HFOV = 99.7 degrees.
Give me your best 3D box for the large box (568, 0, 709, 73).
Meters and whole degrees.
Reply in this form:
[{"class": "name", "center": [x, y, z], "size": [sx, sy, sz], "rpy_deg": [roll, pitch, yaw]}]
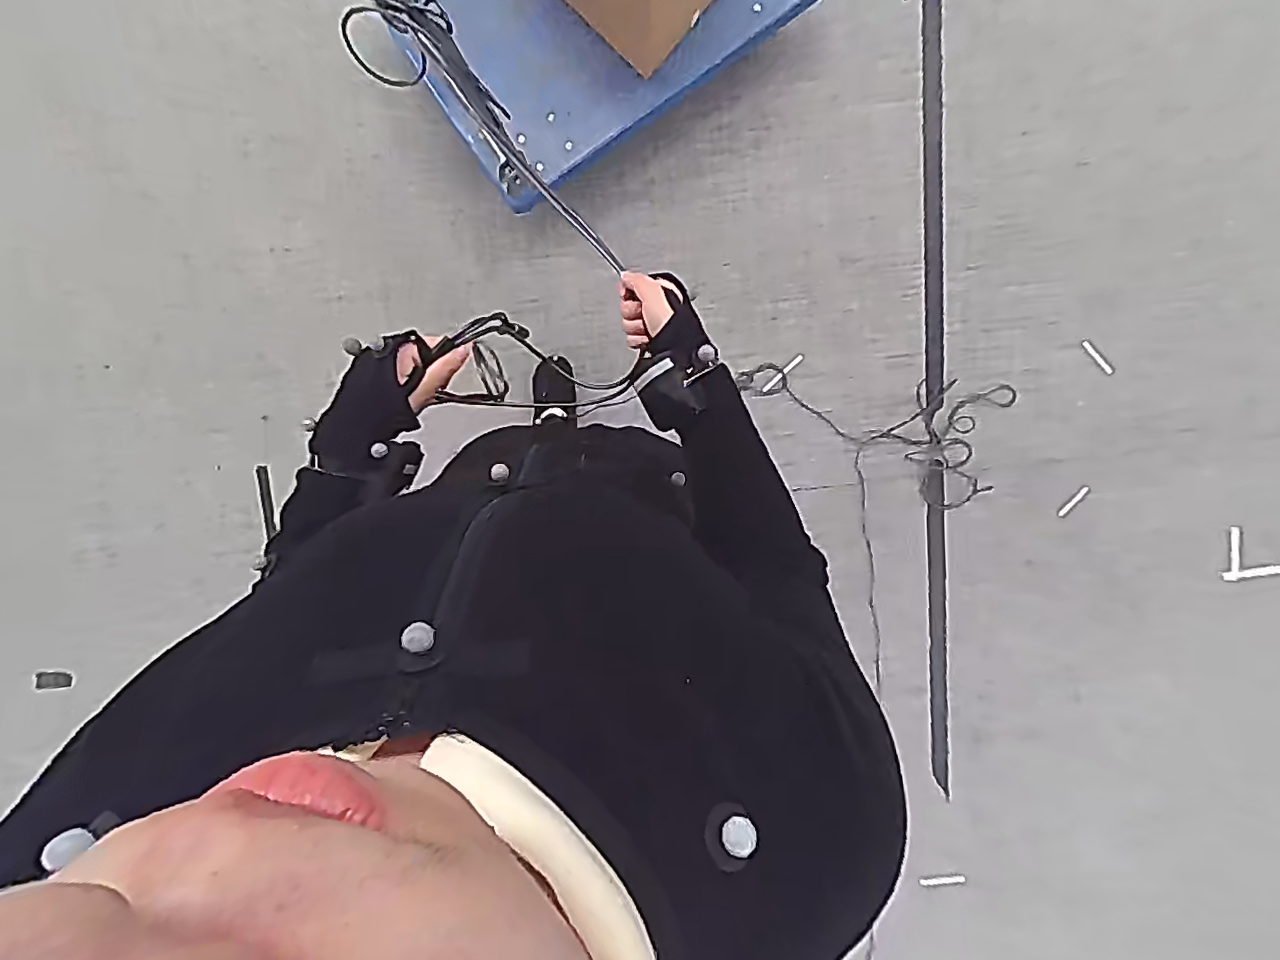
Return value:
[{"class": "large box", "center": [-0.031, -1.100, 0.999], "size": [0.408, 0.320, 0.320], "rpy_deg": [41, 97, -7]}]
